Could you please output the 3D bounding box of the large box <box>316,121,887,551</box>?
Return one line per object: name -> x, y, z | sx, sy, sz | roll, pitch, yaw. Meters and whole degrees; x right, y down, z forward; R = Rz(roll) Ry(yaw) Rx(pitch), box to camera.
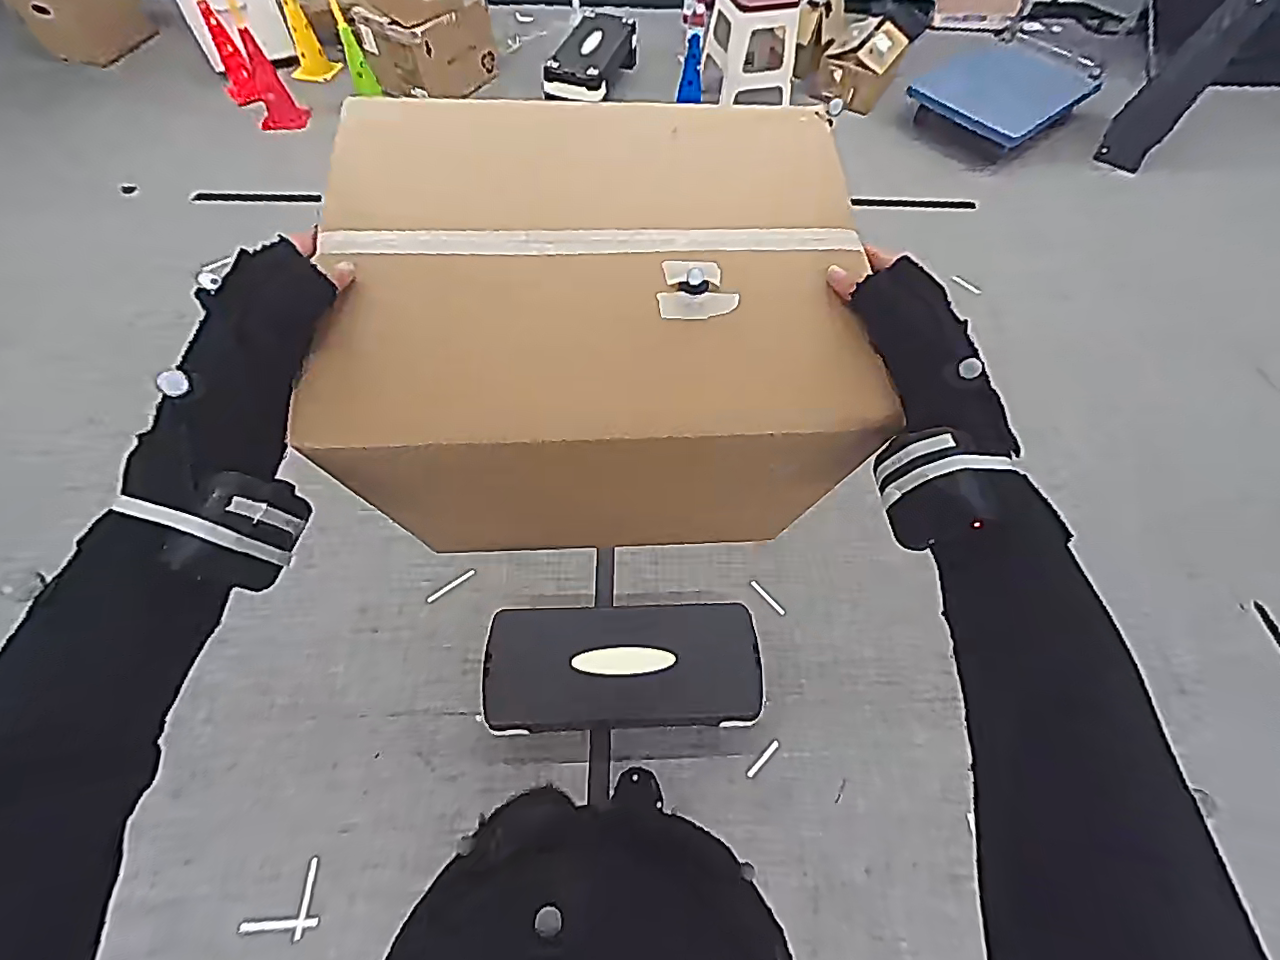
large box -> -0.039, -0.119, 0.561 | 0.408, 0.320, 0.320 | -2, 70, -5
